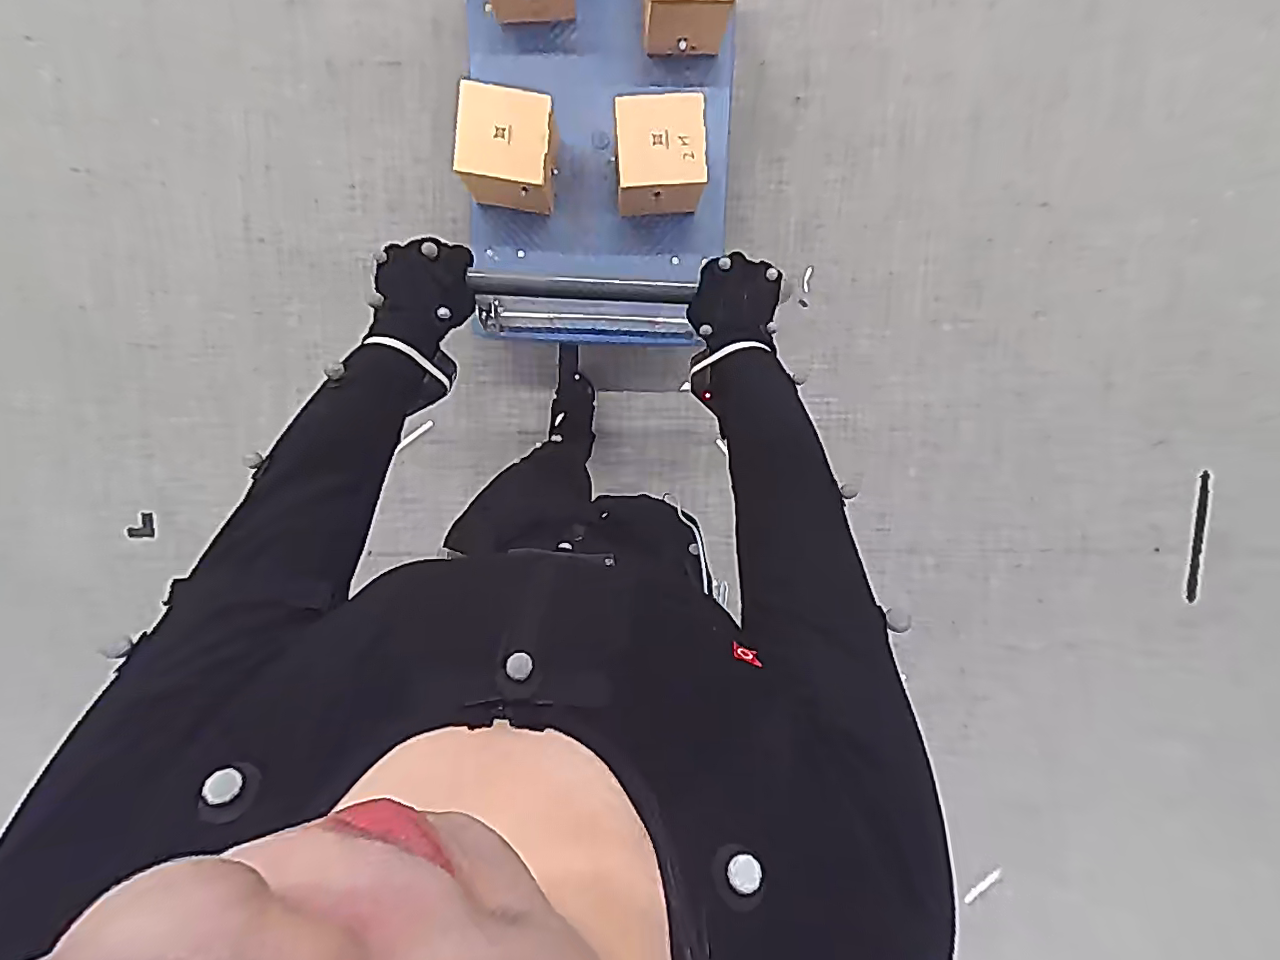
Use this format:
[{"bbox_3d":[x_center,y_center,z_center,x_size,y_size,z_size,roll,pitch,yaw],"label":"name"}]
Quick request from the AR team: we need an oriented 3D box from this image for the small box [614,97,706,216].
[{"bbox_3d":[0.039,-0.669,1.137,0.179,0.176,0.168,-4,99,-2],"label":"small box"}]

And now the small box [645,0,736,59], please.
[{"bbox_3d":[0.096,-1.000,1.092,0.168,0.176,0.179,-2,99,-2],"label":"small box"}]

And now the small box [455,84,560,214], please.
[{"bbox_3d":[-0.267,-0.674,1.123,0.179,0.176,0.168,7,97,-5],"label":"small box"}]
